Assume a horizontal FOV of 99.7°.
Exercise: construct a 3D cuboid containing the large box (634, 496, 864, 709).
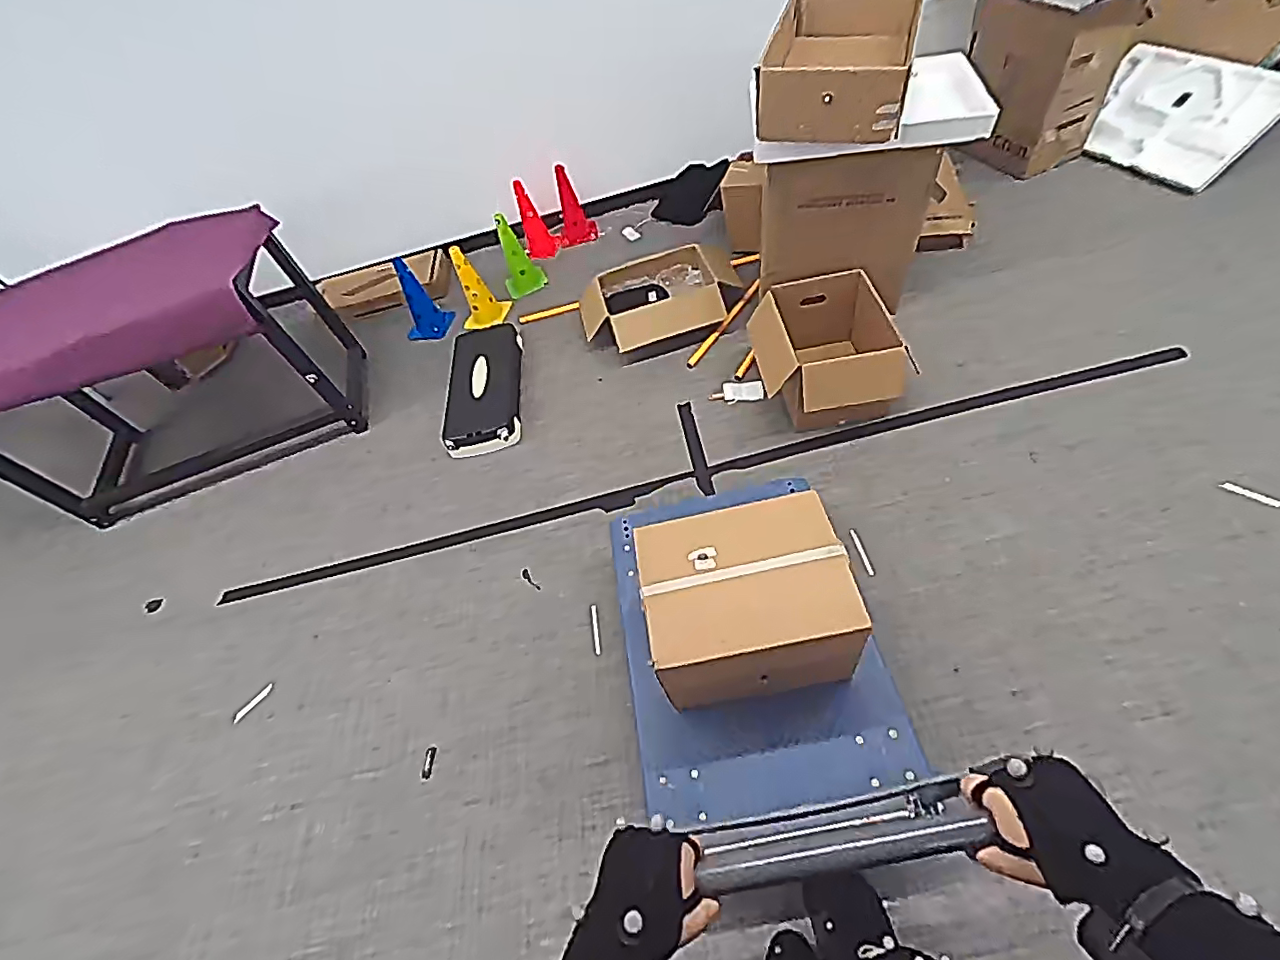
[{"bbox_3d":[0.231,0.284,1.212,0.408,0.320,0.320,-14,52,5],"label":"large box"}]
